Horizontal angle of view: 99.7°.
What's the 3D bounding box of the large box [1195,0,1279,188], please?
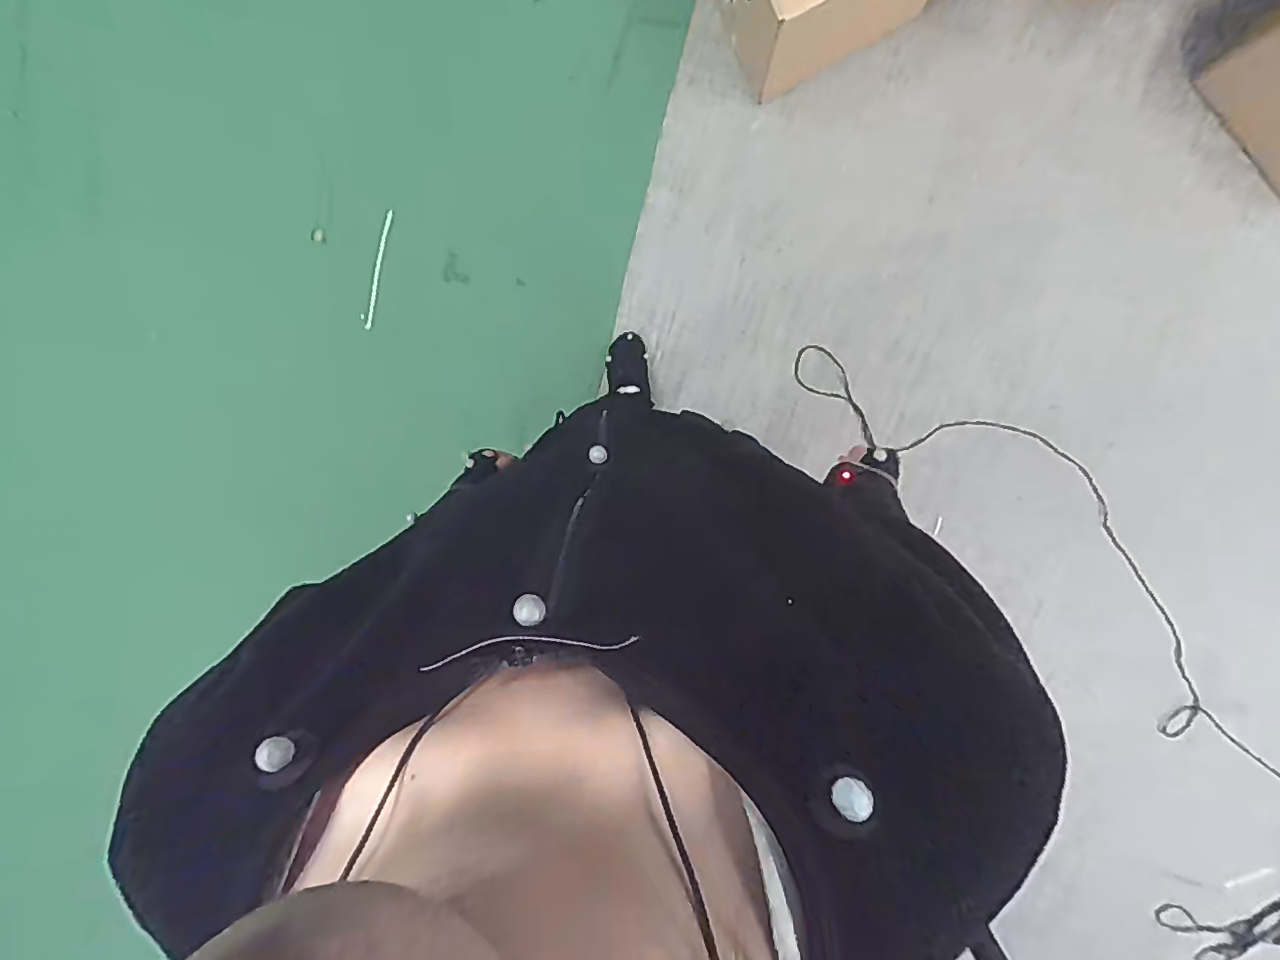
[{"bbox_3d":[1.516,-0.870,1.103,0.320,0.320,0.408,-44,96,10],"label":"large box"}]
